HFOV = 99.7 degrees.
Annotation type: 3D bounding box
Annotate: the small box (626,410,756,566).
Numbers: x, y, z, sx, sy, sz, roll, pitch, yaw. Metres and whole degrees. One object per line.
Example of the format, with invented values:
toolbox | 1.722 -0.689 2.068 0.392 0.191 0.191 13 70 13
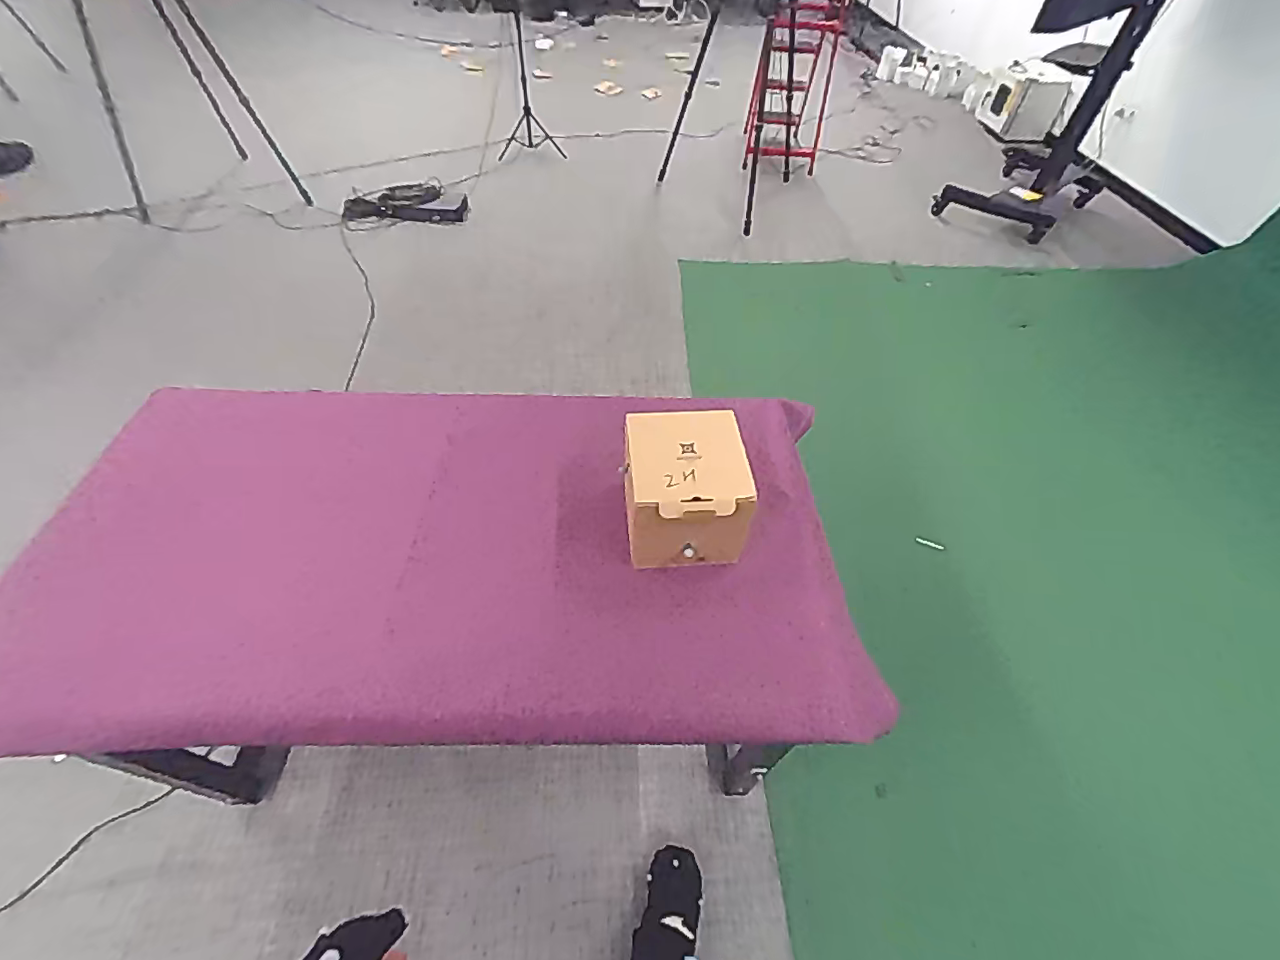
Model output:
small box | 0.065 0.013 0.825 0.168 0.176 0.179 -2 51 -4
